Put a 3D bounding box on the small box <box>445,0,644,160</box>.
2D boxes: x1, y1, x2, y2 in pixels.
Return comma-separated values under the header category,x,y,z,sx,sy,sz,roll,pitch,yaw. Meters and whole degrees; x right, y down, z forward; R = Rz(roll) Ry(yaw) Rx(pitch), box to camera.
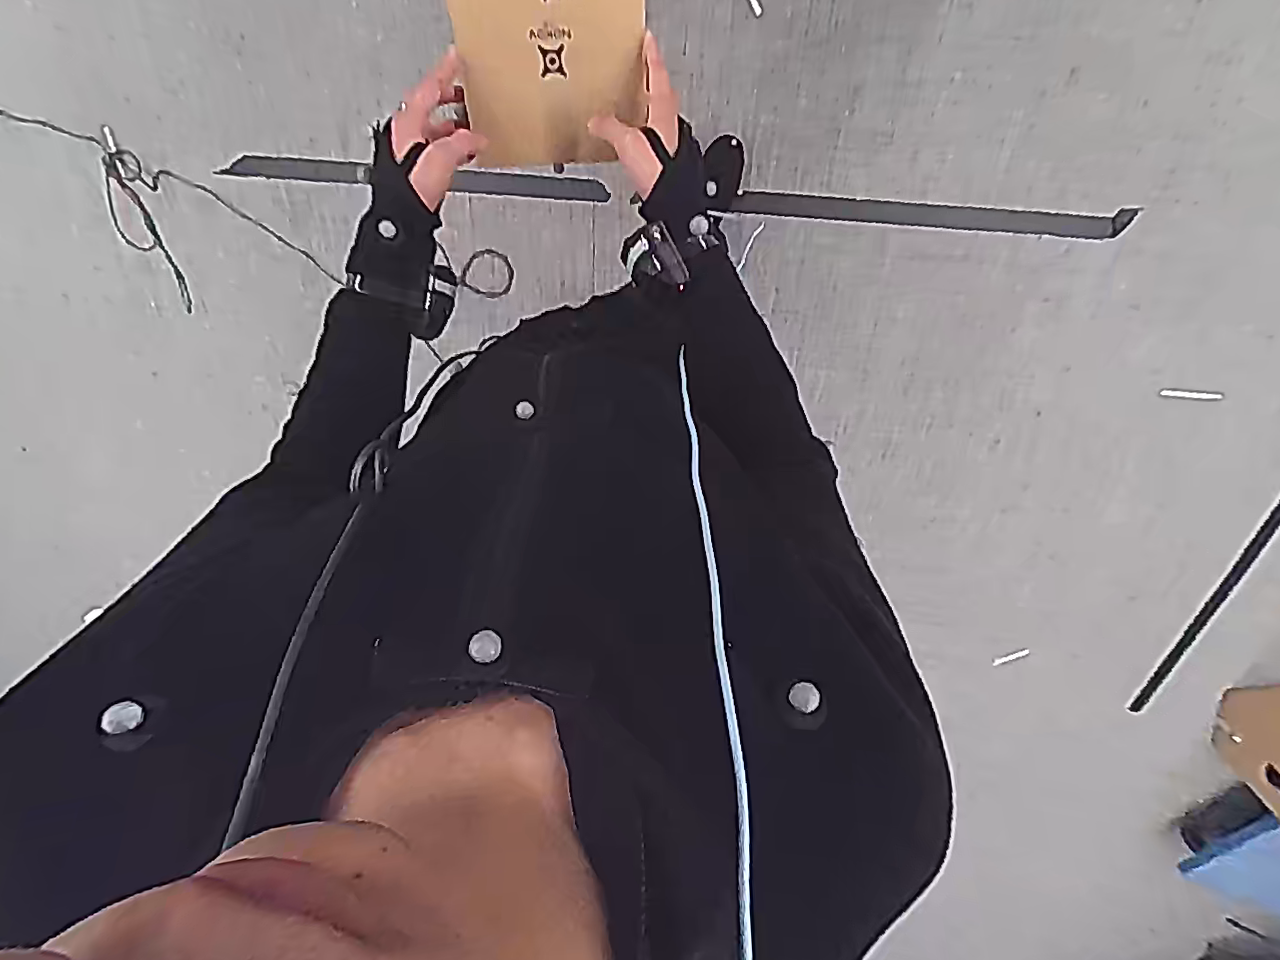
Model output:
category,x,y,z,sx,sy,sz,roll,pitch,yaw
small box,-0.087,-0.422,0.523,0.168,0.176,0.179,-6,125,-5
